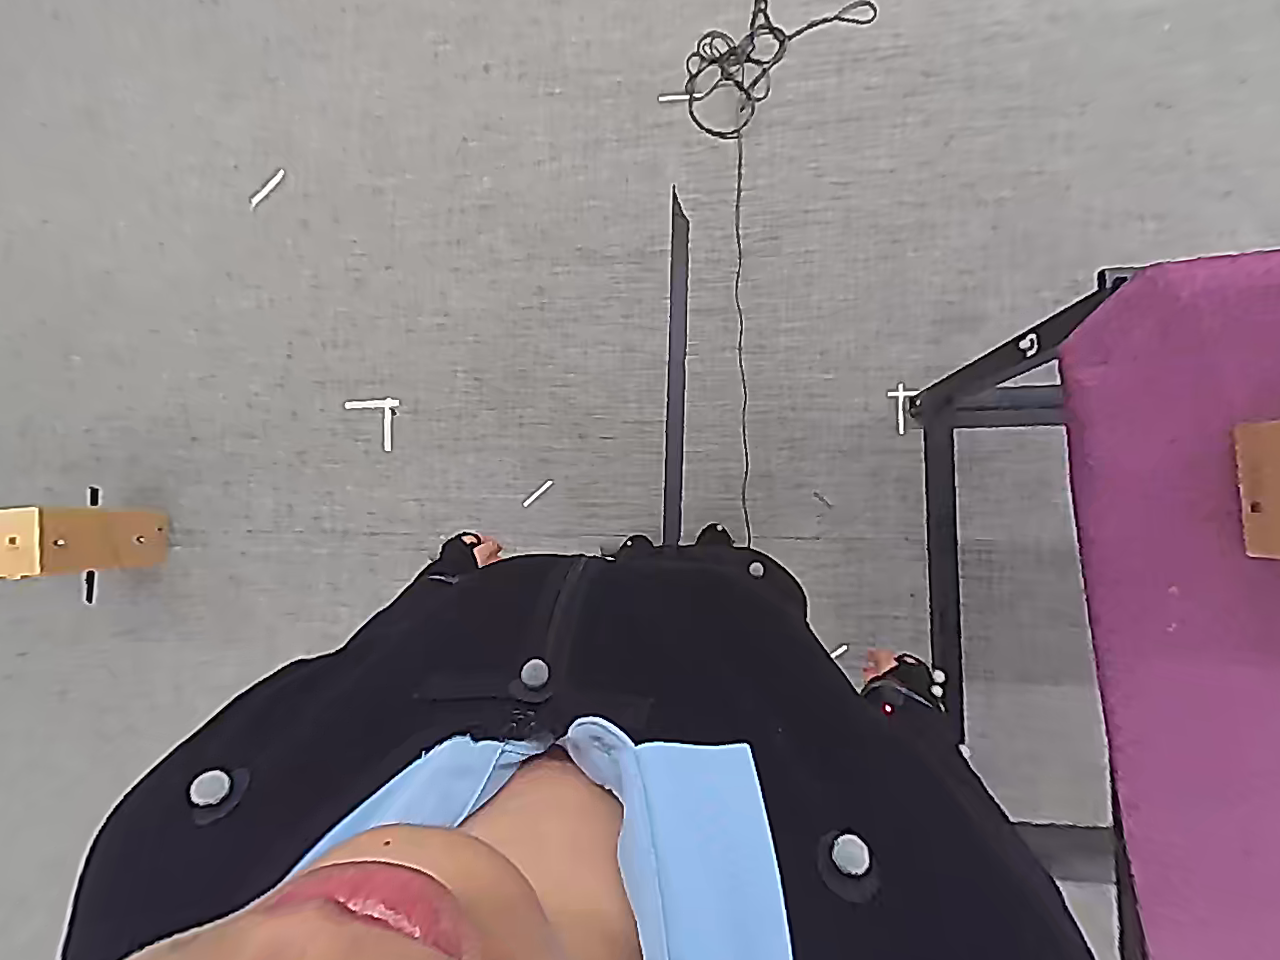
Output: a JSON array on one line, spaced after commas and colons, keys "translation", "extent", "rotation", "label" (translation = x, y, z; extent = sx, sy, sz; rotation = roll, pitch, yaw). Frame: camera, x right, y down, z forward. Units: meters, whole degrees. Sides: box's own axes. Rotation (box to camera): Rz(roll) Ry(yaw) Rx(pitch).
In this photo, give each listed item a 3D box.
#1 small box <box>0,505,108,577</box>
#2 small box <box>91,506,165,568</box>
[{"translation": [-1.580, 0.160, 1.444], "extent": [0.168, 0.176, 0.179], "rotation": [-5, 87, 6], "label": "small box"}, {"translation": [-1.571, 0.163, 1.607], "extent": [0.179, 0.176, 0.168], "rotation": [3, 87, 7], "label": "small box"}]
